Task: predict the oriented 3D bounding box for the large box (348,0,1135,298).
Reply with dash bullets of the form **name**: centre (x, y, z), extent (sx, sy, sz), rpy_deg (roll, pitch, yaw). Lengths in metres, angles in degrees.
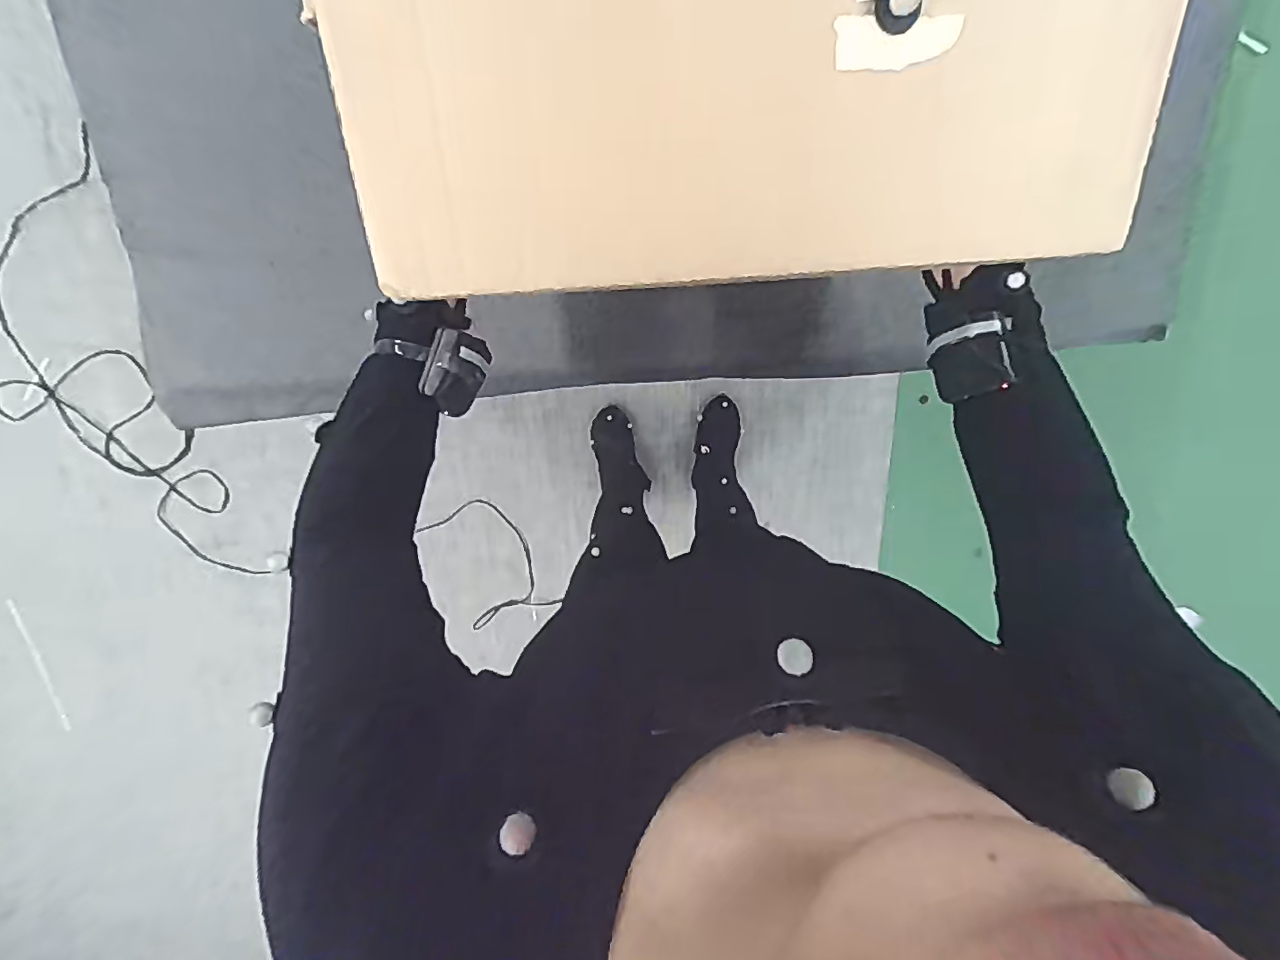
- **large box**: centre (0.046, -0.317, 0.405), extent (0.408, 0.320, 0.320), rpy_deg (-4, 110, 0)
